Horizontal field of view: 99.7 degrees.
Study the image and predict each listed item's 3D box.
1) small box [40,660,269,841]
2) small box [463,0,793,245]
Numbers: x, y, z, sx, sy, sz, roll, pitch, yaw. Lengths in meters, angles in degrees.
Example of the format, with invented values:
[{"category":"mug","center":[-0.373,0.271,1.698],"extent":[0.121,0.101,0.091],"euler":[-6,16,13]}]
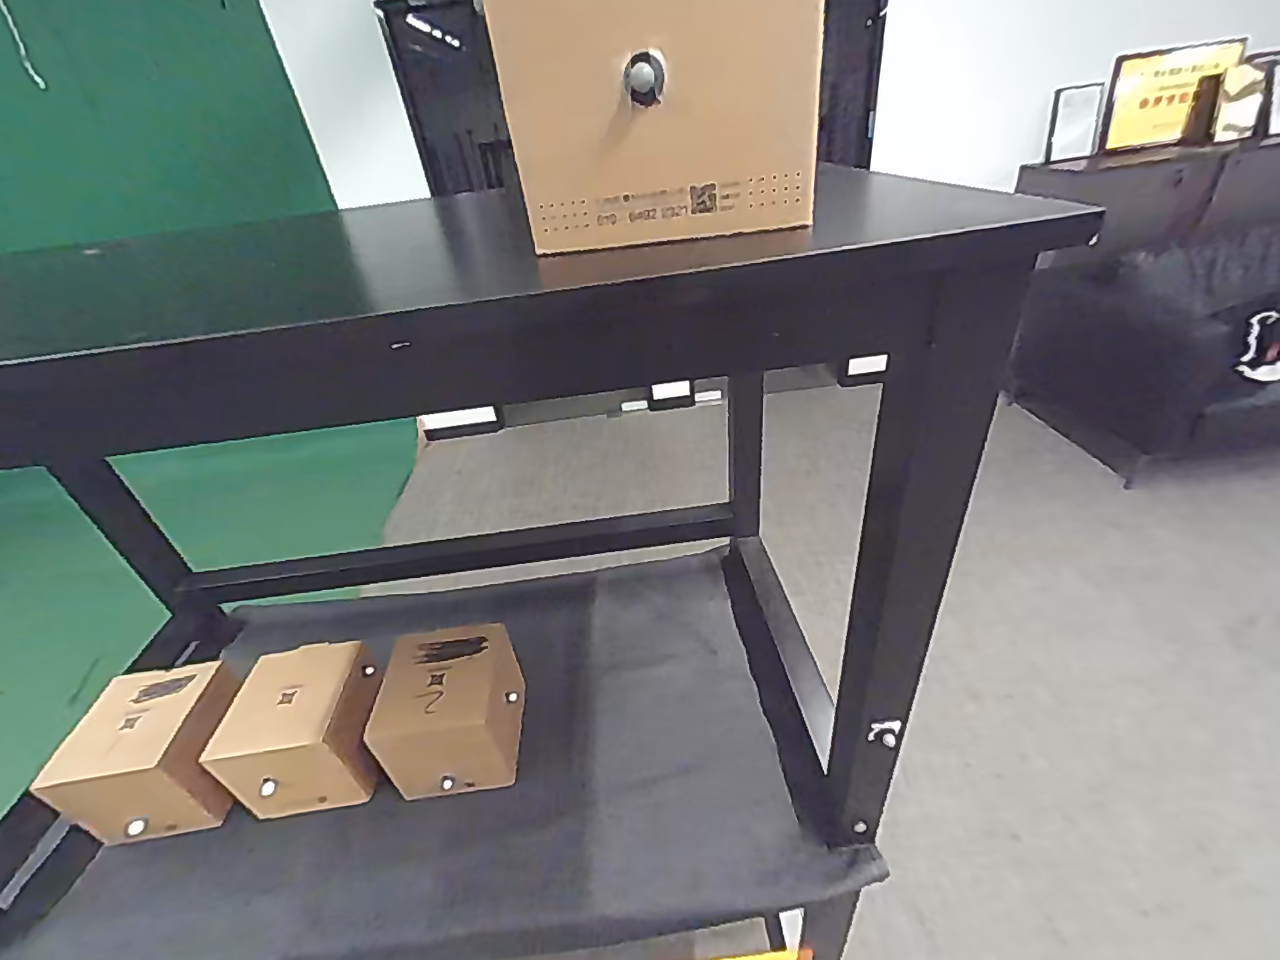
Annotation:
[{"category":"small box","center":[-0.713,0.410,0.827],"extent":[0.168,0.176,0.179],"euler":[-9,34,-2]},{"category":"small box","center":[0.006,-0.255,0.345],"extent":[0.168,0.176,0.179],"euler":[-2,34,9]}]
